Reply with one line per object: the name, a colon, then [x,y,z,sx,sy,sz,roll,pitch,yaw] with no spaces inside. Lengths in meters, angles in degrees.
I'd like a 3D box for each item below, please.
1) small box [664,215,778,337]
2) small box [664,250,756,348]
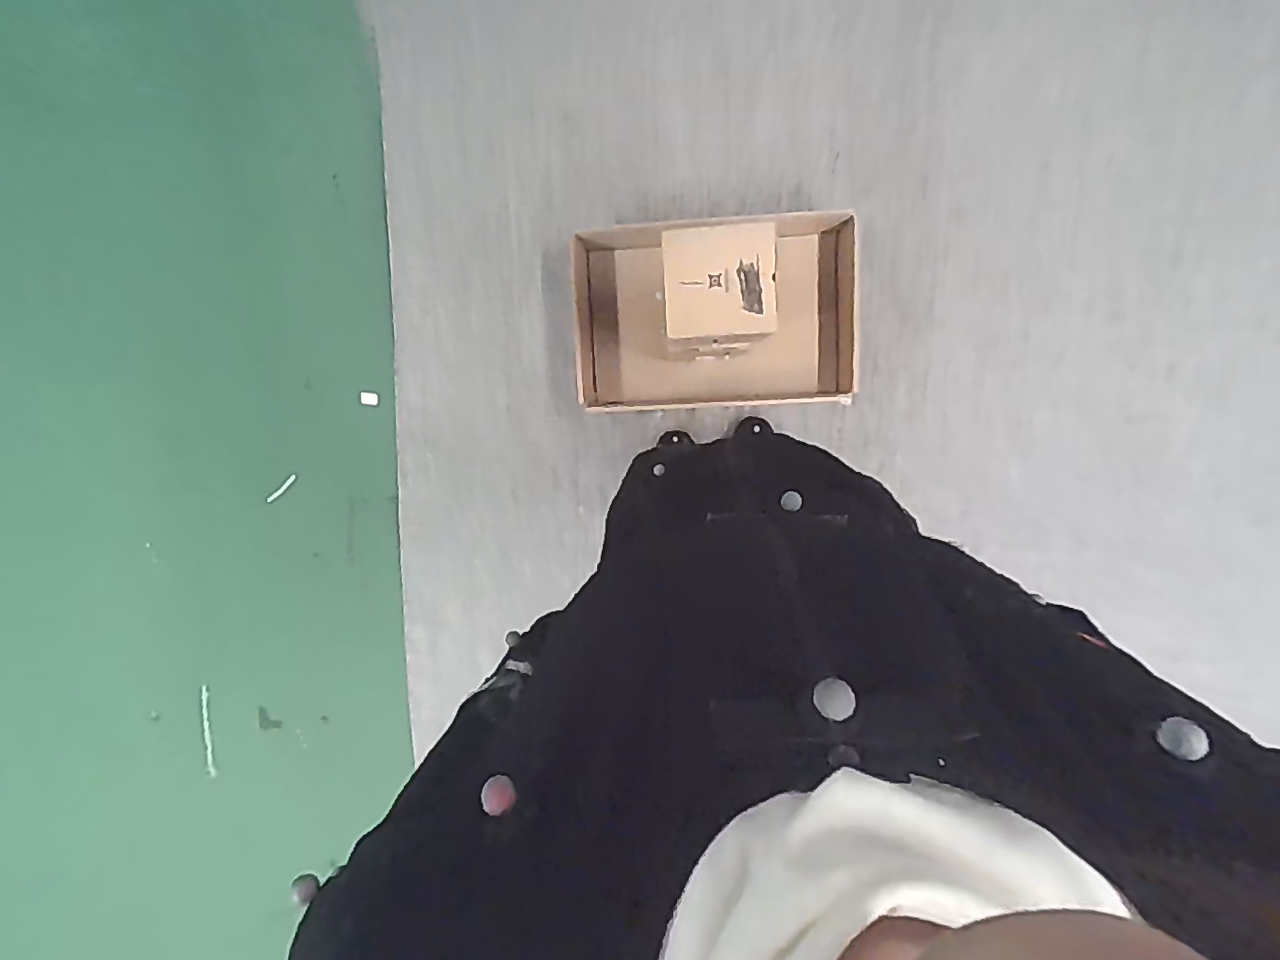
small box: [0.133,-0.336,0.921,0.179,0.176,0.168,-2,99,6]
small box: [0.138,-0.356,1.068,0.168,0.176,0.179,-3,100,6]
